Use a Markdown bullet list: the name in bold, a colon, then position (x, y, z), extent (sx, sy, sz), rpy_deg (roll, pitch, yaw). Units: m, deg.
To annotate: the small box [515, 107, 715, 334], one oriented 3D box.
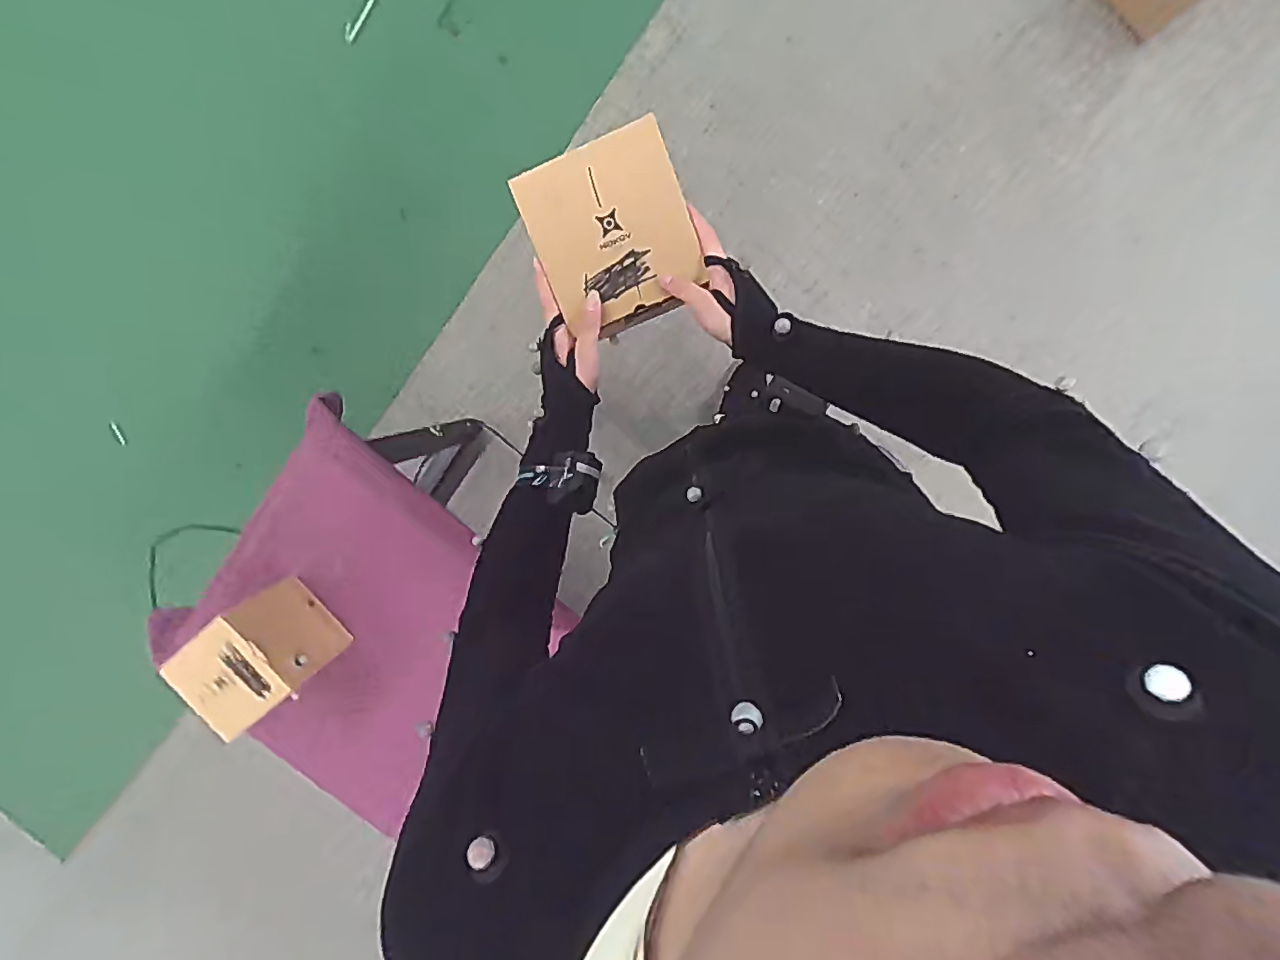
- **small box**: position (-0.019, -0.284, 0.640), extent (0.168, 0.176, 0.179), rpy_deg (-21, 101, 7)
